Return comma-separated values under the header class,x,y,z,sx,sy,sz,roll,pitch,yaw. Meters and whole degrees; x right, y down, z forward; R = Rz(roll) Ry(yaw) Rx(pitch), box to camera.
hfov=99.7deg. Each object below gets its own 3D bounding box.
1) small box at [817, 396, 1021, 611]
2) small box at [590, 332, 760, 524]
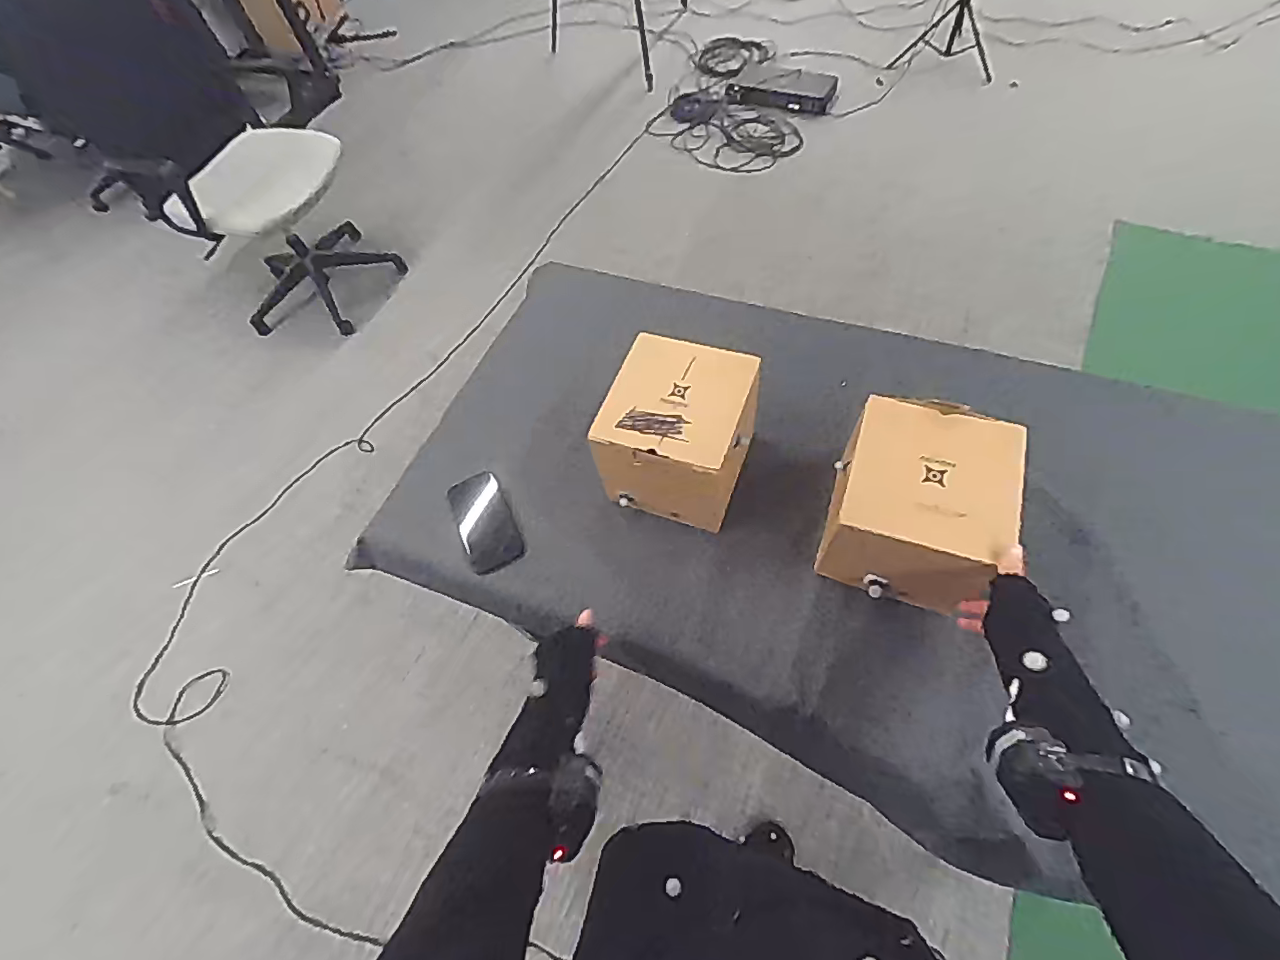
class,x,y,z,sx,sy,sz,roll,pitch,yaw
small box,0.320,0.033,0.646,0.168,0.176,0.179,15,65,16
small box,0.053,-0.064,0.729,0.168,0.176,0.179,17,64,15
